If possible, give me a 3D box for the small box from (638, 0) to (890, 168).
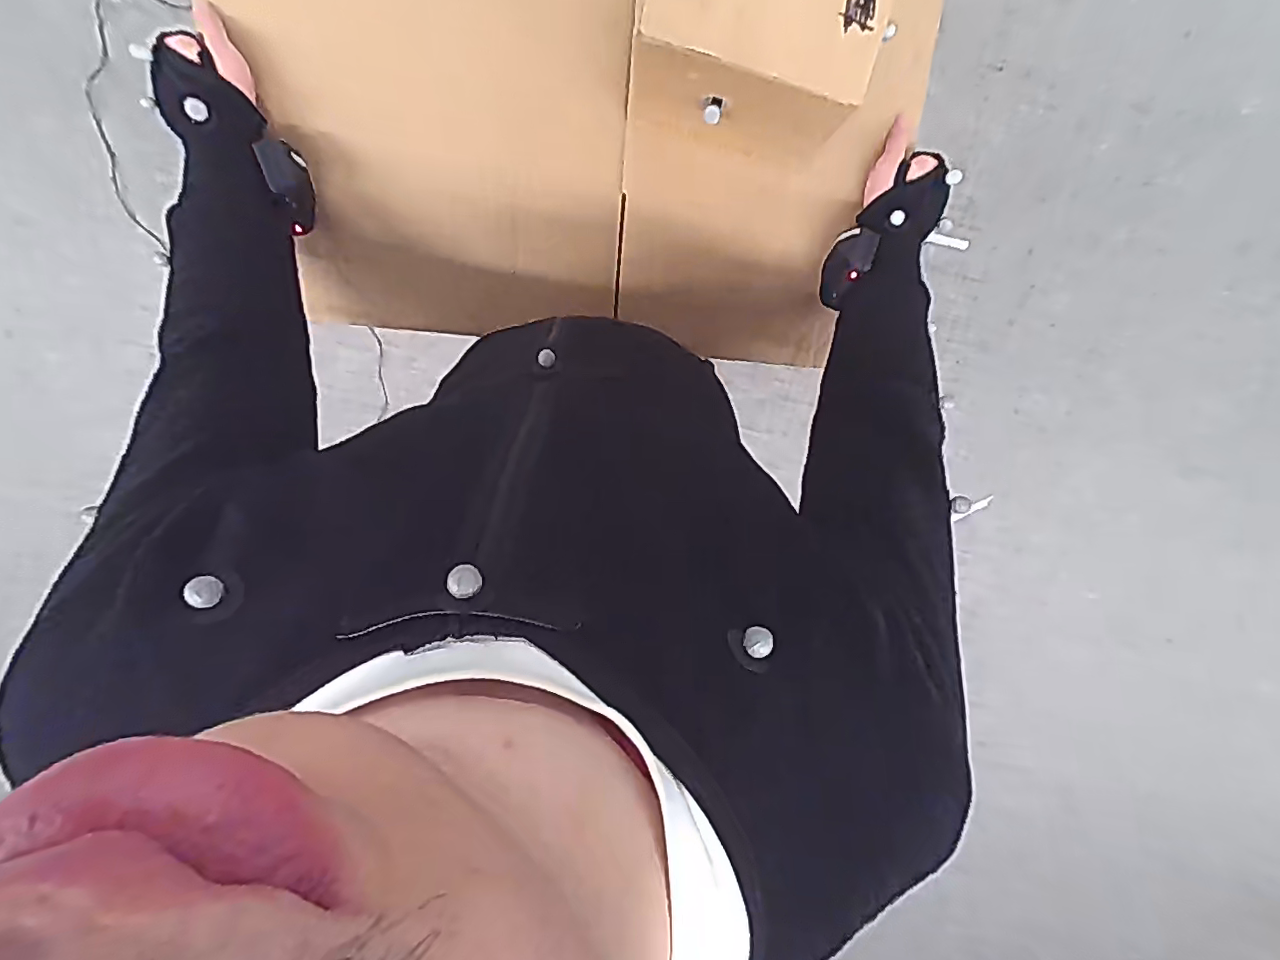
[{"bbox_3d":[0.101,-0.398,0.465,0.179,0.176,0.168,14,103,-5],"label":"small box"}]
